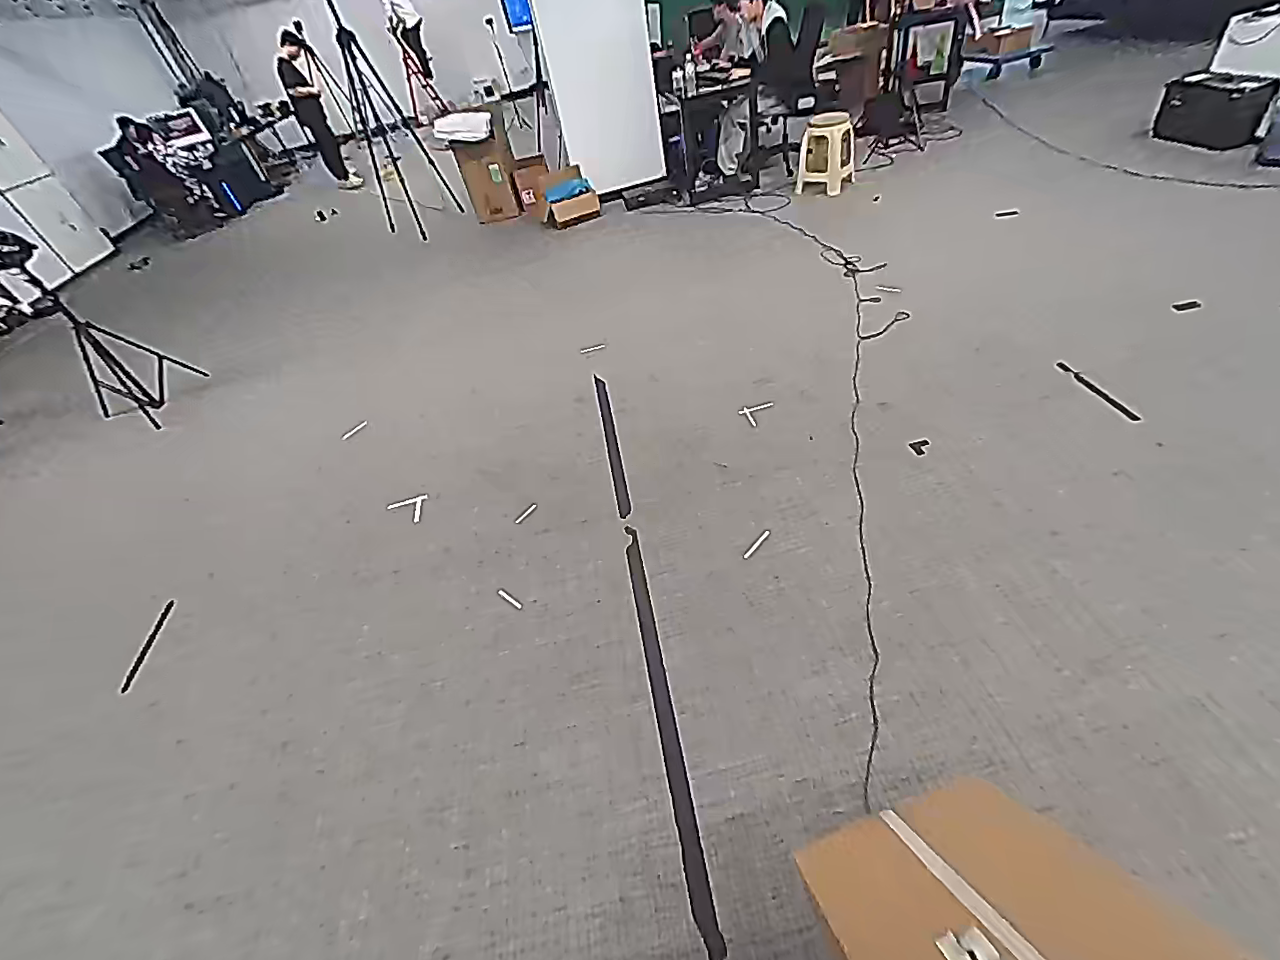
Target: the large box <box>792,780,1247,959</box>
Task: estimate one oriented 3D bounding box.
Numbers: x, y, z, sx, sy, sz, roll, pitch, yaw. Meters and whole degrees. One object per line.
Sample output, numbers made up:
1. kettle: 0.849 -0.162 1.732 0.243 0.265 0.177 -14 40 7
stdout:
1. large box: 0.427 0.626 0.606 0.320 0.408 0.320 -20 86 -5
